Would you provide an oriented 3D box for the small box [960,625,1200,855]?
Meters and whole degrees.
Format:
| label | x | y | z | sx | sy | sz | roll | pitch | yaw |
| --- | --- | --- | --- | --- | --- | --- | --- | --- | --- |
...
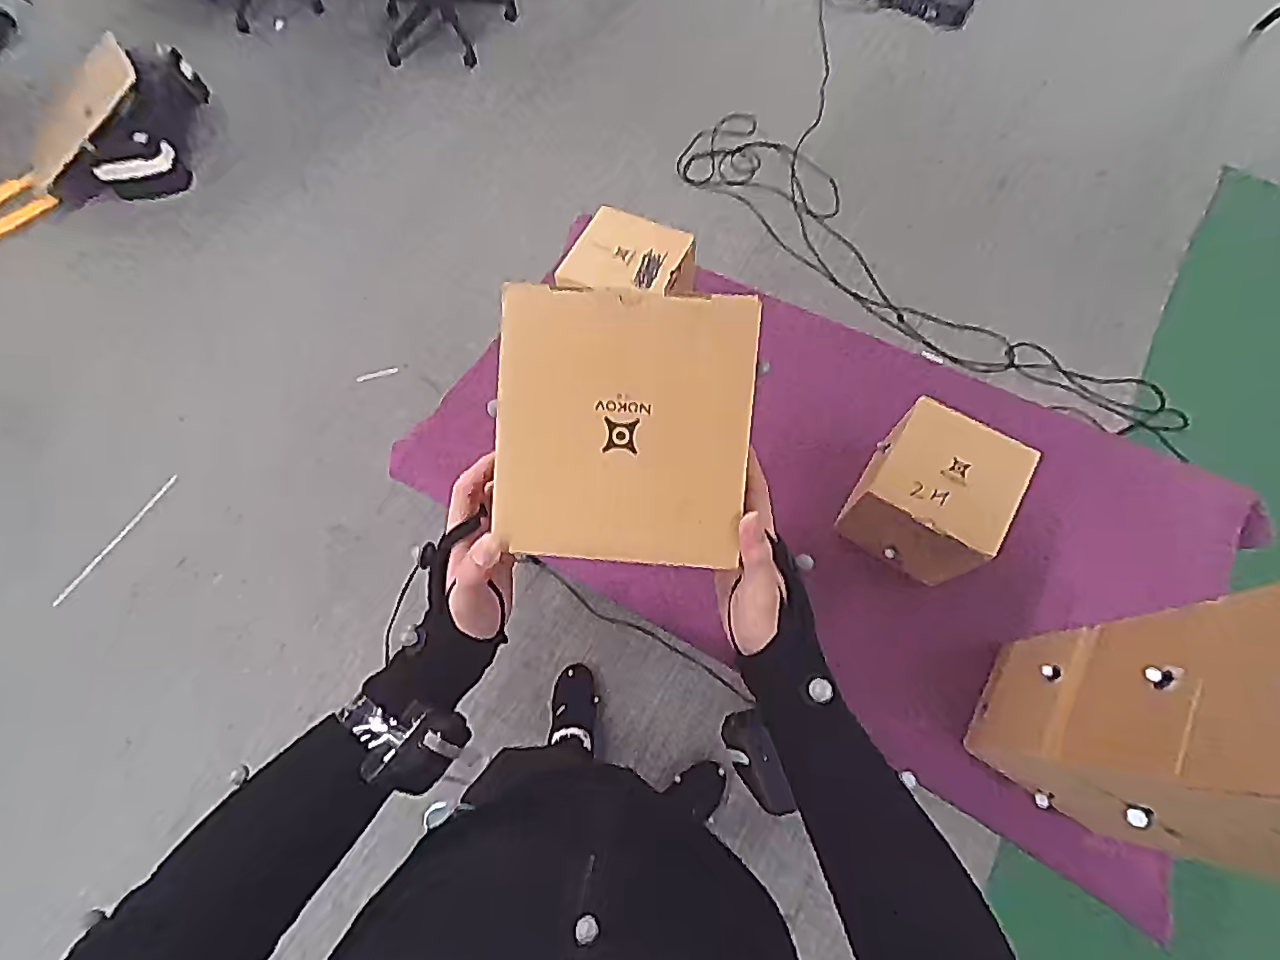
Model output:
| label | x | y | z | sx | sy | sz | roll | pitch | yaw |
| --- | --- | --- | --- | --- | --- | --- | --- | --- | --- |
| small box | 0.541 | 0.302 | 0.660 | 0.179 | 0.176 | 0.168 | 32 | 72 | 14 |

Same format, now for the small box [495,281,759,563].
| label | x | y | z | sx | sy | sz | roll | pitch | yaw |
| --- | --- | --- | --- | --- | --- | --- | --- | --- | --- |
| small box | -0.007 | -0.043 | 0.431 | 0.168 | 0.176 | 0.179 | 4 | 95 | 2 |

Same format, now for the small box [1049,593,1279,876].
| label | x | y | z | sx | sy | sz | roll | pitch | yaw |
| --- | --- | --- | --- | --- | --- | --- | --- | --- | --- |
| small box | 0.539 | 0.237 | 0.510 | 0.168 | 0.176 | 0.179 | 31 | 72 | 15 |

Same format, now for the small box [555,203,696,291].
| label | x | y | z | sx | sy | sz | roll | pitch | yaw |
| --- | --- | --- | --- | --- | --- | --- | --- | --- | --- |
| small box | -0.018 | -0.333 | 0.937 | 0.179 | 0.176 | 0.168 | 24 | 71 | 12 |

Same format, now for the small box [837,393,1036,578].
| label | x | y | z | sx | sy | sz | roll | pitch | yaw |
| --- | --- | --- | --- | --- | --- | --- | --- | --- | --- |
| small box | 0.412 | 0.015 | 0.782 | 0.168 | 0.176 | 0.179 | 32 | 73 | 14 |
